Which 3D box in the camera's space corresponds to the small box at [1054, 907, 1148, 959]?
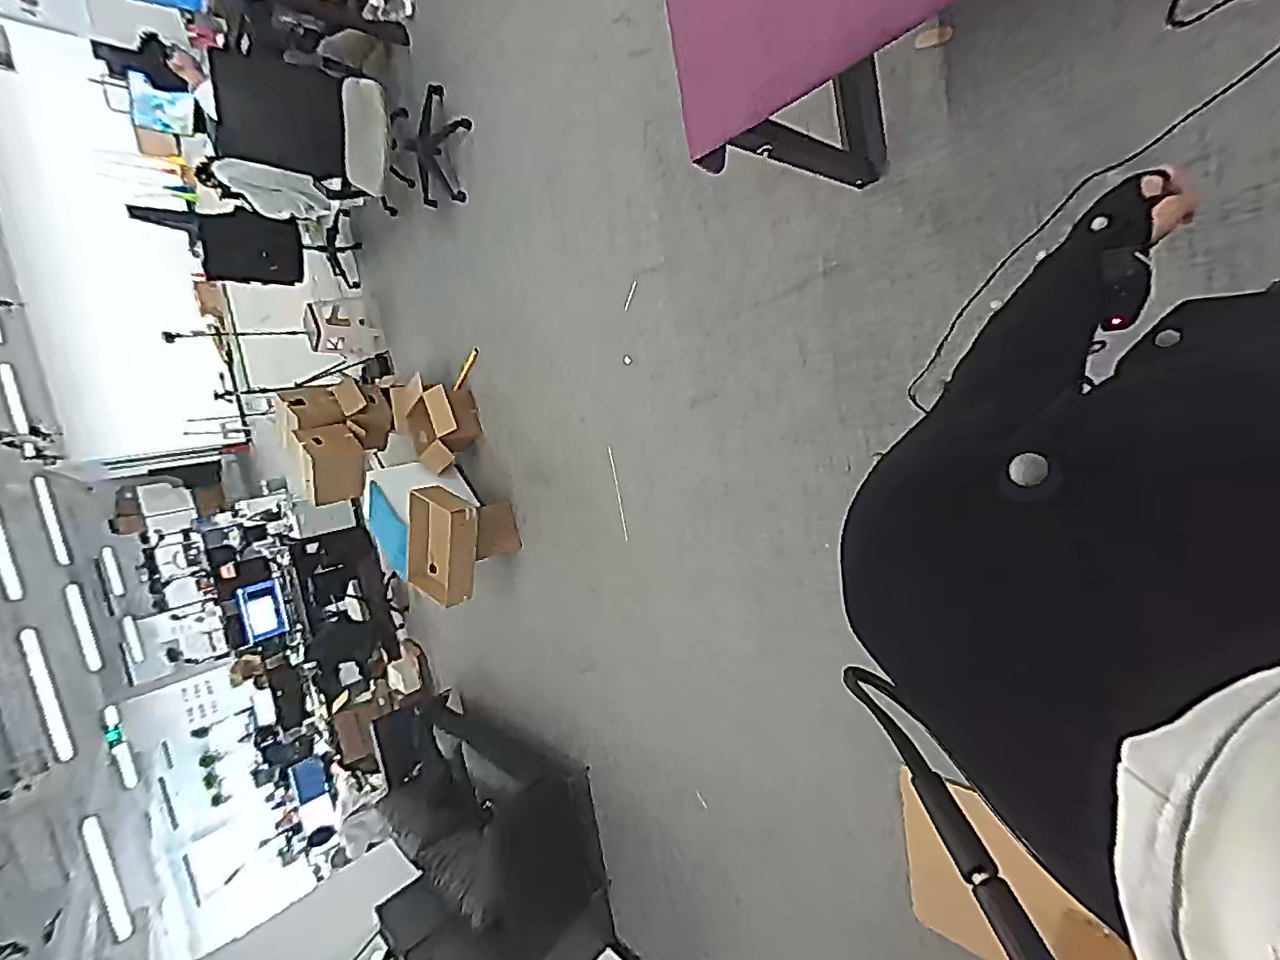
[{"bbox_3d":[1.223,1.295,1.423,0.168,0.176,0.179,-12,93,48],"label":"small box"}]
